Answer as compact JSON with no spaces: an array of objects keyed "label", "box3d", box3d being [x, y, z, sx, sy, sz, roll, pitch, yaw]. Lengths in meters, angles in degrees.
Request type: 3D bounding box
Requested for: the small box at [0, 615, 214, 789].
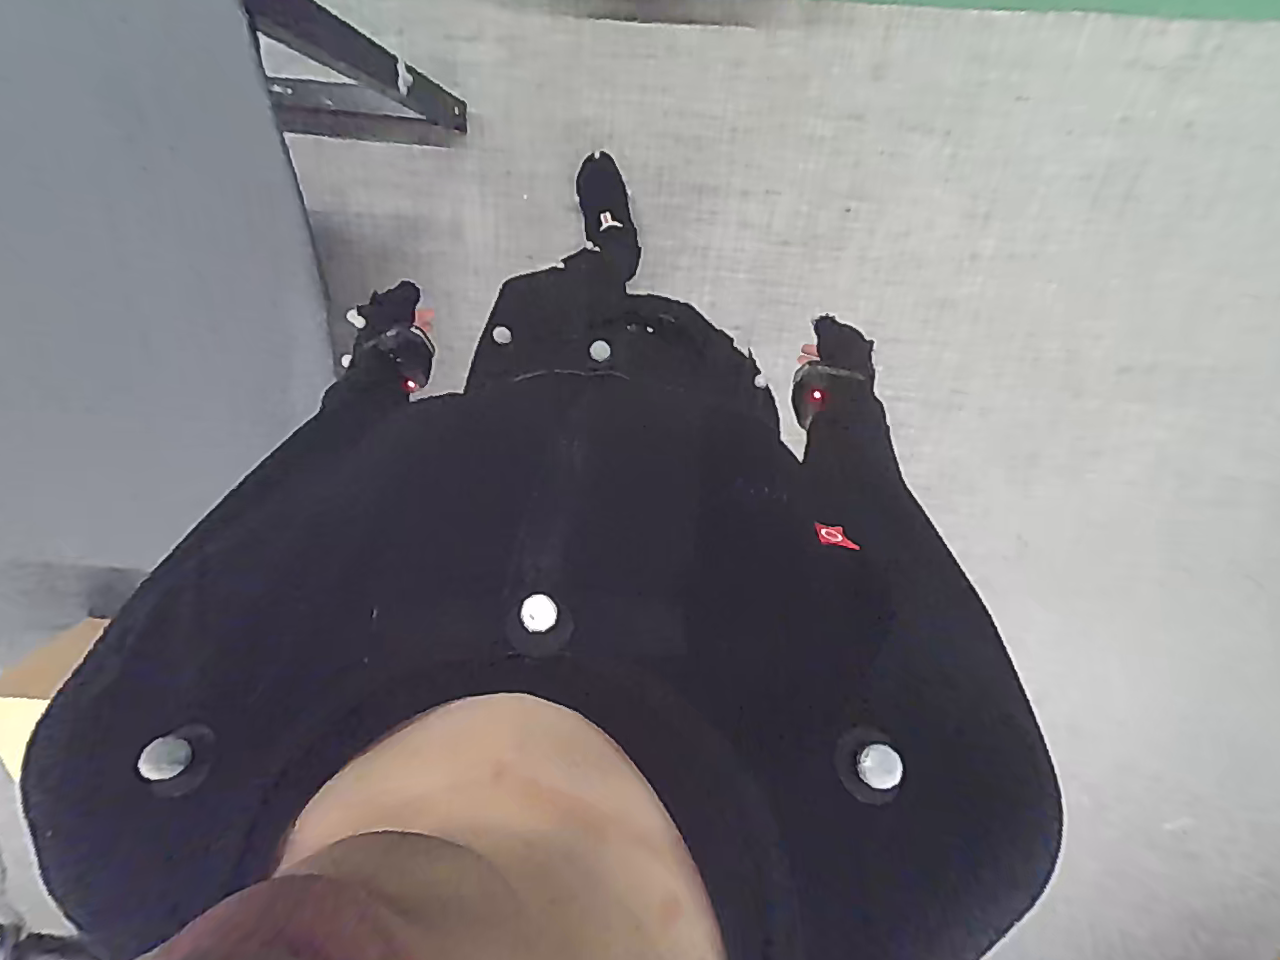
[{"label":"small box","box3d":[-0.804,0.332,0.825,0.168,0.176,0.179,3,113,2]}]
